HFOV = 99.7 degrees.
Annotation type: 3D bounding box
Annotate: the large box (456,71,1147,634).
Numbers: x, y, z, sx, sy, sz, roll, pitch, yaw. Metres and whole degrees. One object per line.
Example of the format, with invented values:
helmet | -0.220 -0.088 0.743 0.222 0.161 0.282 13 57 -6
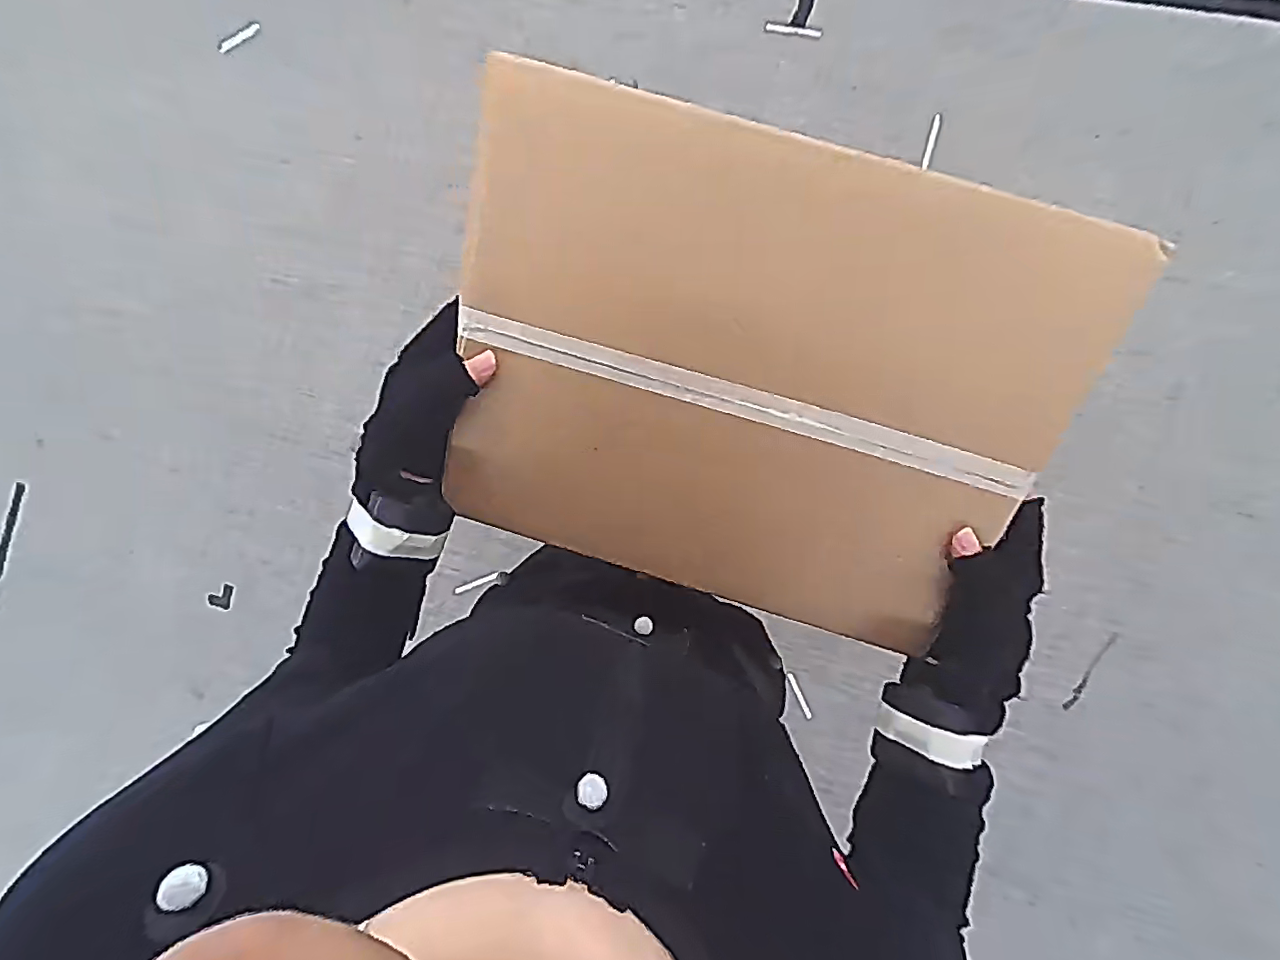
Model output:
large box | 0.091 -0.119 0.517 0.408 0.320 0.320 17 115 2
